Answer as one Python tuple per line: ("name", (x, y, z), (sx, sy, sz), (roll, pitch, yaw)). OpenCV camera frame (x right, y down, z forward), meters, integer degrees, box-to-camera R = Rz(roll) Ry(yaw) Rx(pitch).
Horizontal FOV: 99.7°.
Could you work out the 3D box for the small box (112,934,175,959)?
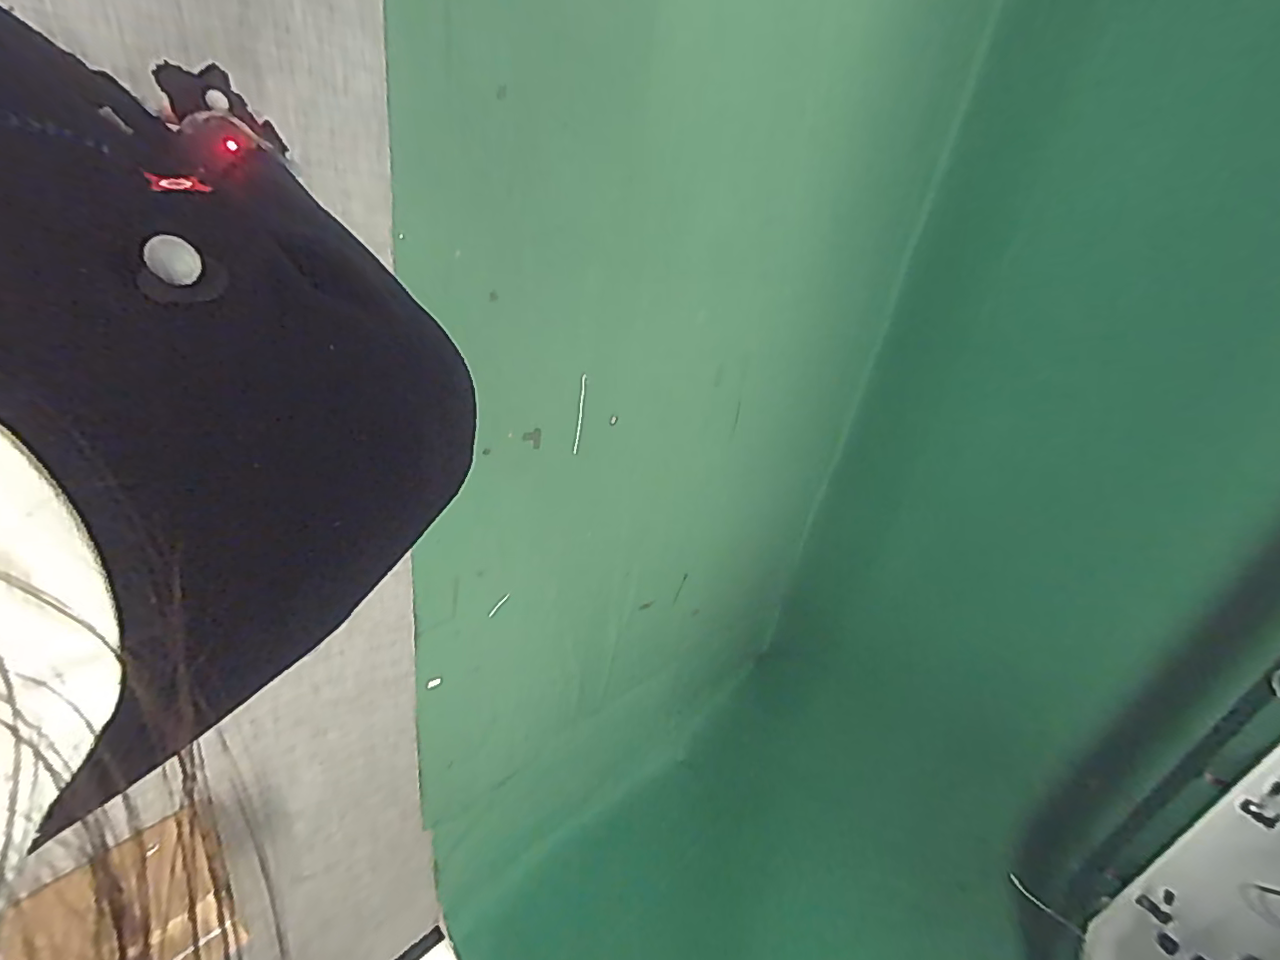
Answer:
("small box", (-1.240, 1.267, 1.308), (0.179, 0.176, 0.168), (-21, 129, -39))
